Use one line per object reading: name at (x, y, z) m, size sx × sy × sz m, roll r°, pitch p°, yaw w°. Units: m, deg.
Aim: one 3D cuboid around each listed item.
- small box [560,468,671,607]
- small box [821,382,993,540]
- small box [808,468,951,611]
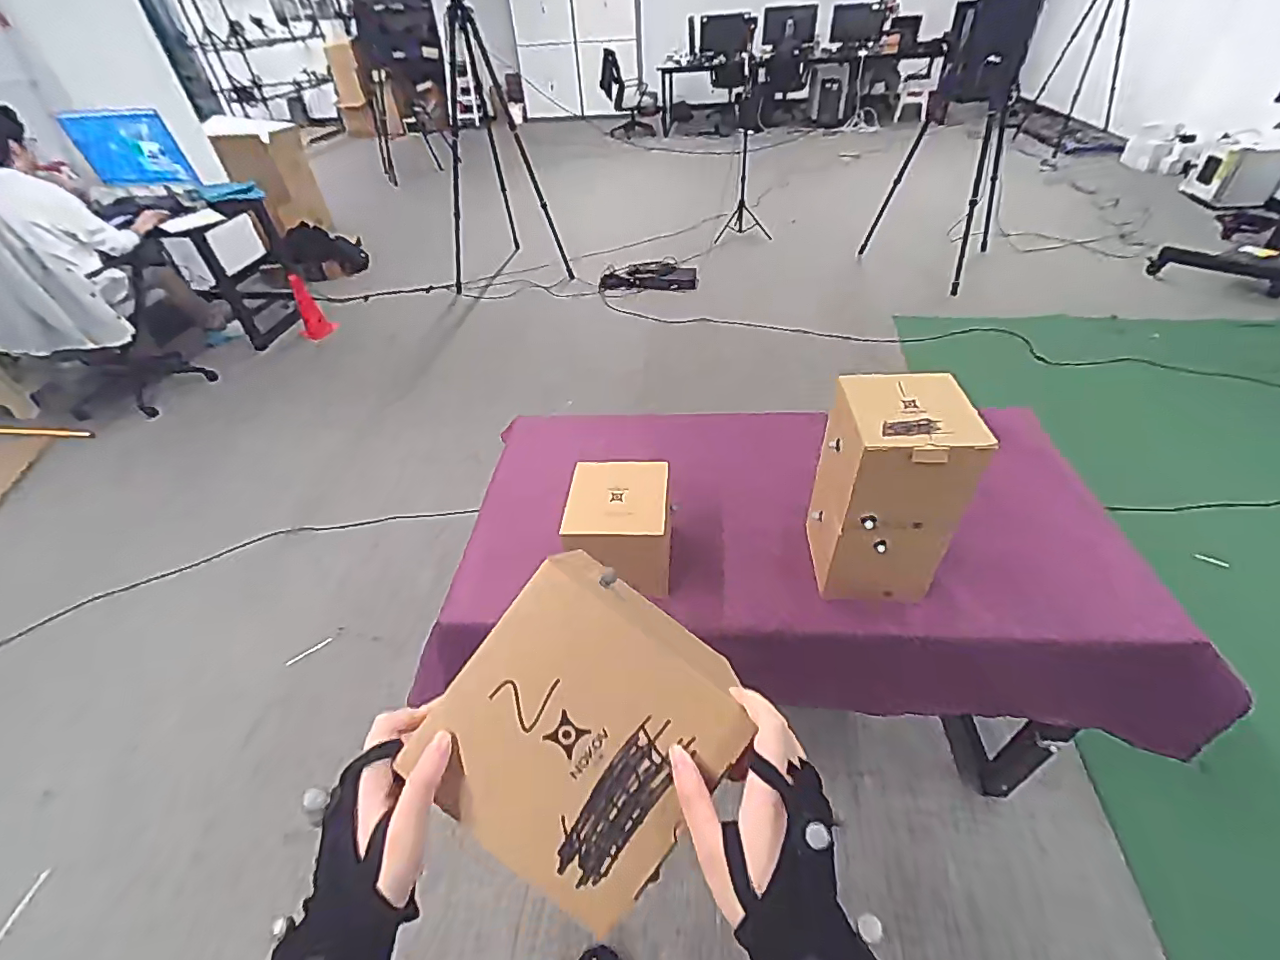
small box at (-0.033, 0.098, 0.948) m, size 0.168 × 0.176 × 0.179 m, roll 0°, pitch 43°, yaw 7°
small box at (0.376, -0.026, 0.799) m, size 0.168 × 0.176 × 0.179 m, roll 0°, pitch 42°, yaw 5°
small box at (0.385, 0.096, 0.909) m, size 0.168 × 0.176 × 0.179 m, roll -1°, pitch 41°, yaw 7°
